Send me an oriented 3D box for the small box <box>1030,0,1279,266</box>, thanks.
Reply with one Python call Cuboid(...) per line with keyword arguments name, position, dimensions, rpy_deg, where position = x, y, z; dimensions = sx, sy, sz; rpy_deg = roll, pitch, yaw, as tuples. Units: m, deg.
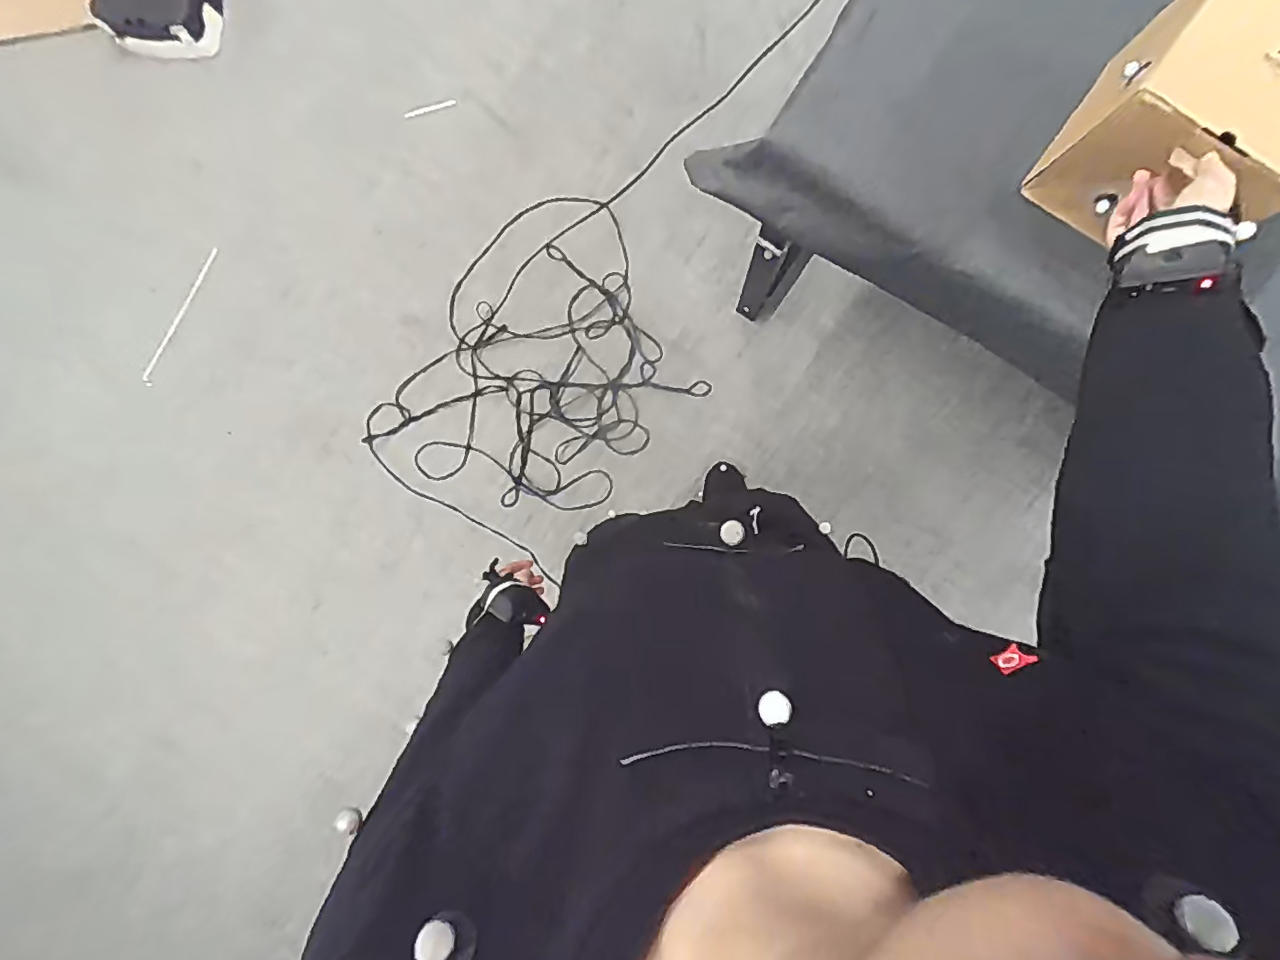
Cuboid(name="small box", position=(0.541, -0.350, 0.529), dimensions=(0.168, 0.176, 0.179), rpy_deg=(35, 94, 3))
